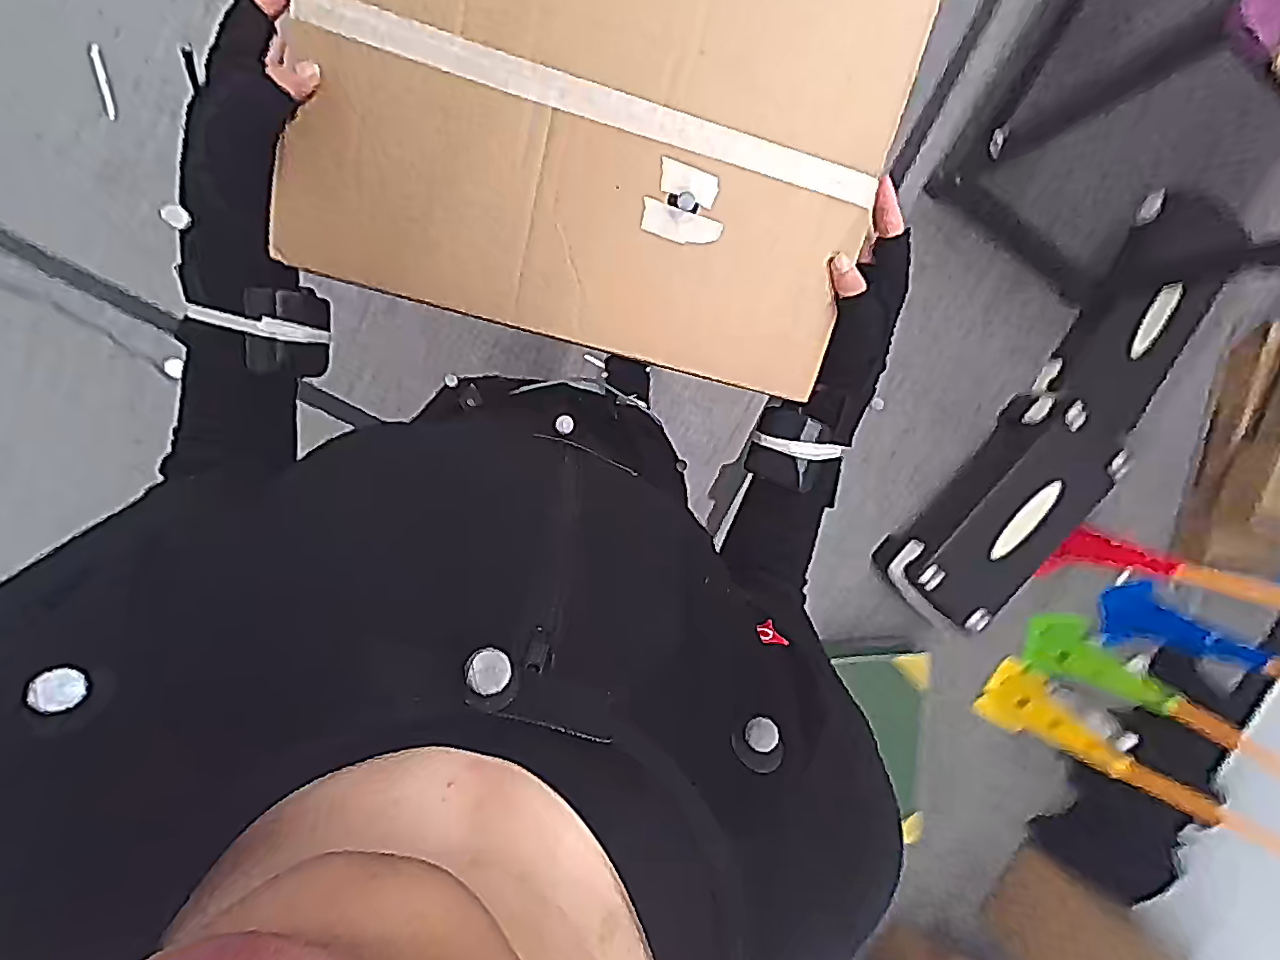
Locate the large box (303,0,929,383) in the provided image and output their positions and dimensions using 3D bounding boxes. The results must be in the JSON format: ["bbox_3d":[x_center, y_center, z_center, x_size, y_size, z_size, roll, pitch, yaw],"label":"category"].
[{"bbox_3d":[-0.033,-0.300,0.524,0.408,0.320,0.320,13,104,-10],"label":"large box"}]
